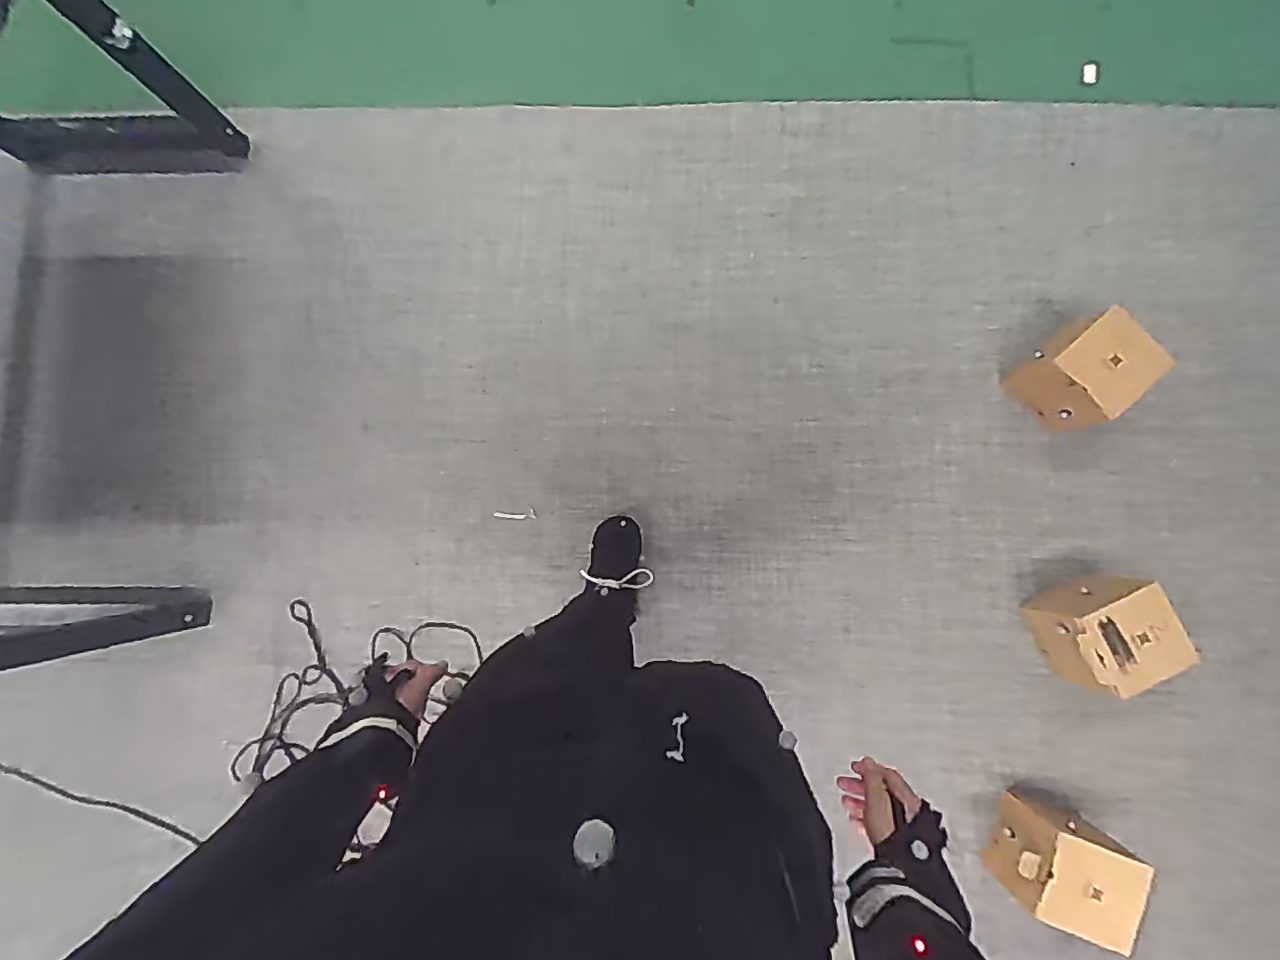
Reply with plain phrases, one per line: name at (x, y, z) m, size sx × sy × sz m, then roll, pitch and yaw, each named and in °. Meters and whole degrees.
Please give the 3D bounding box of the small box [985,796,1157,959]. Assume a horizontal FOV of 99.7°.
small box at (0.824, 0.756, 1.051) m, size 0.179 × 0.176 × 0.168 m, roll 20°, pitch 86°, yaw 4°

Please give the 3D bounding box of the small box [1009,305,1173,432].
small box at (0.929, -0.223, 1.138) m, size 0.179 × 0.176 × 0.168 m, roll -43°, pitch 86°, yaw -4°
